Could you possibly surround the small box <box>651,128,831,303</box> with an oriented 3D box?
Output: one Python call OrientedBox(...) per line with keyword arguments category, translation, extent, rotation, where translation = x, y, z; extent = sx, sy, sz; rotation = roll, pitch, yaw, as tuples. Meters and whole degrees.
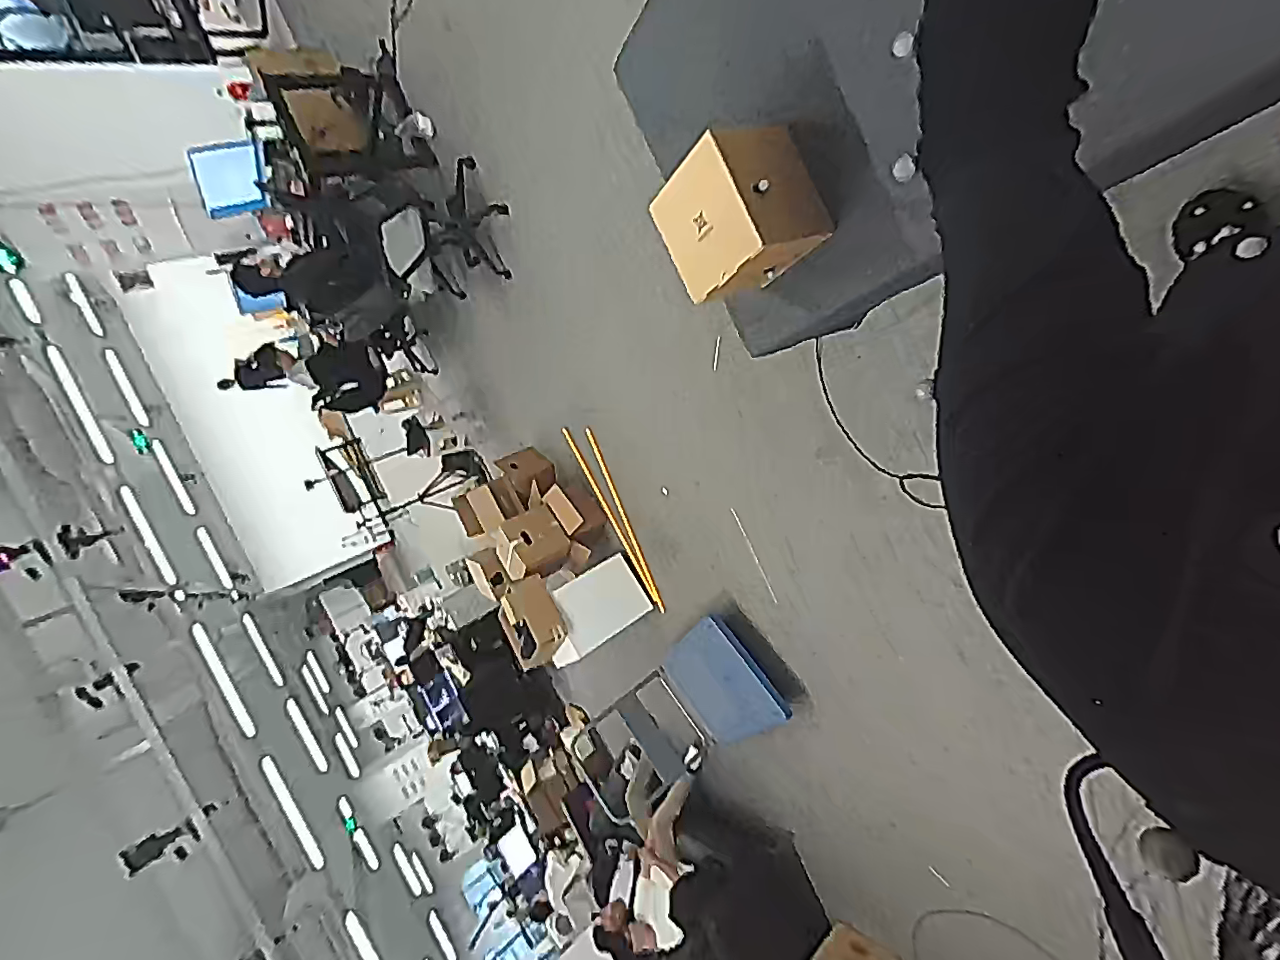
OrientedBox(category="small box", translation=(0.154, -0.402, 0.830), extent=(0.168, 0.176, 0.179), rotation=(-24, 92, 58))
